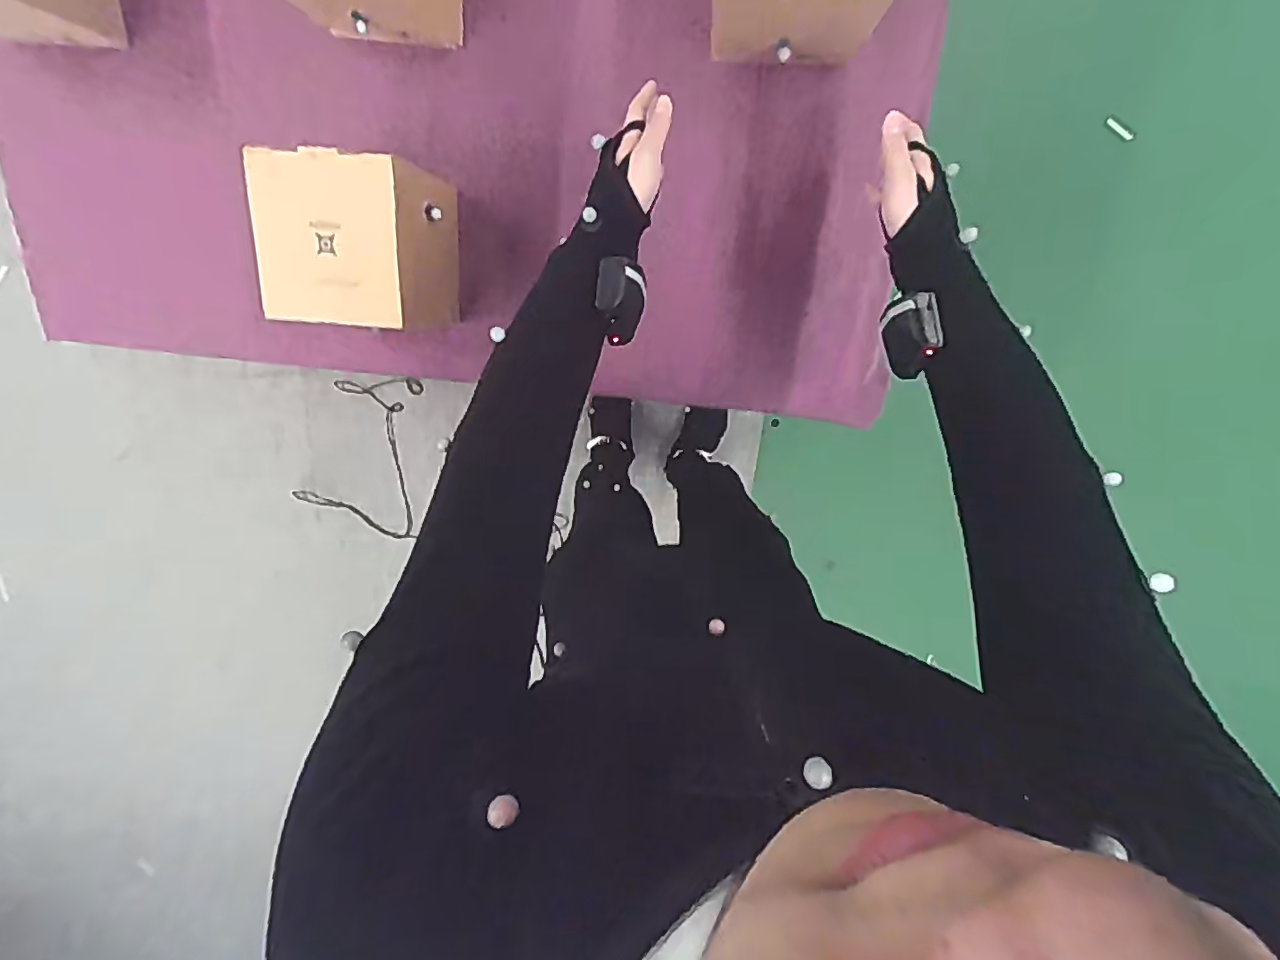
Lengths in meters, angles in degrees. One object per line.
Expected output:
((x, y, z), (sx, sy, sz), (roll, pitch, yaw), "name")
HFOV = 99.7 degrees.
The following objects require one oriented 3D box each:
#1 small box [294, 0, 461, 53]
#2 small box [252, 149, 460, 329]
((-0.298, -0.595, 0.570), (0.168, 0.176, 0.179), (8, 112, 2), "small box")
((-0.339, -0.290, 0.681), (0.168, 0.176, 0.179), (6, 109, 4), "small box")
